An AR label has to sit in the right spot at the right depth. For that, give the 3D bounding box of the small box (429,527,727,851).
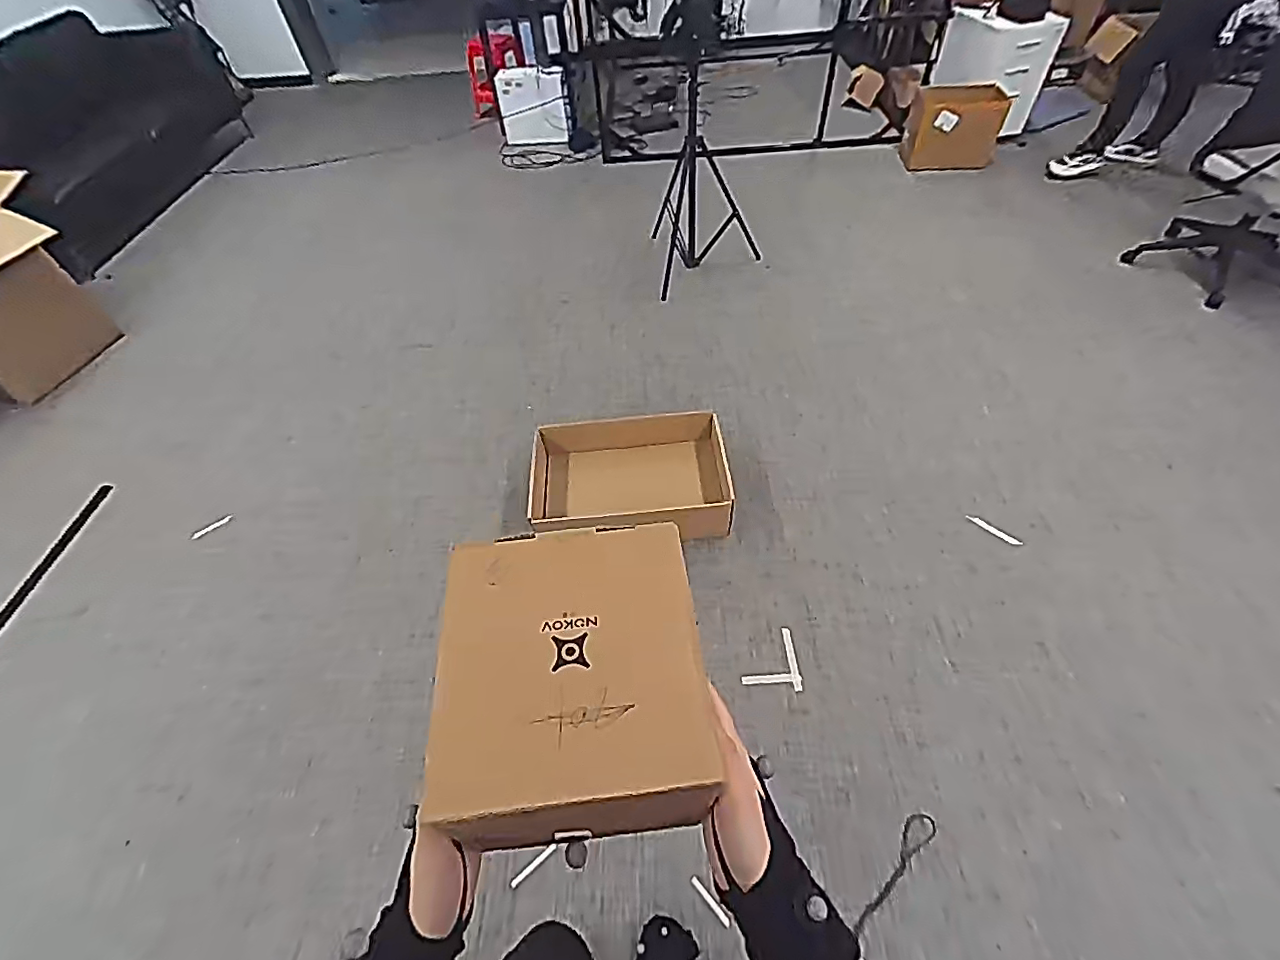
[{"bbox_3d":[-0.041,0.158,0.407,0.168,0.176,0.179,-5,51,-4],"label":"small box"}]
